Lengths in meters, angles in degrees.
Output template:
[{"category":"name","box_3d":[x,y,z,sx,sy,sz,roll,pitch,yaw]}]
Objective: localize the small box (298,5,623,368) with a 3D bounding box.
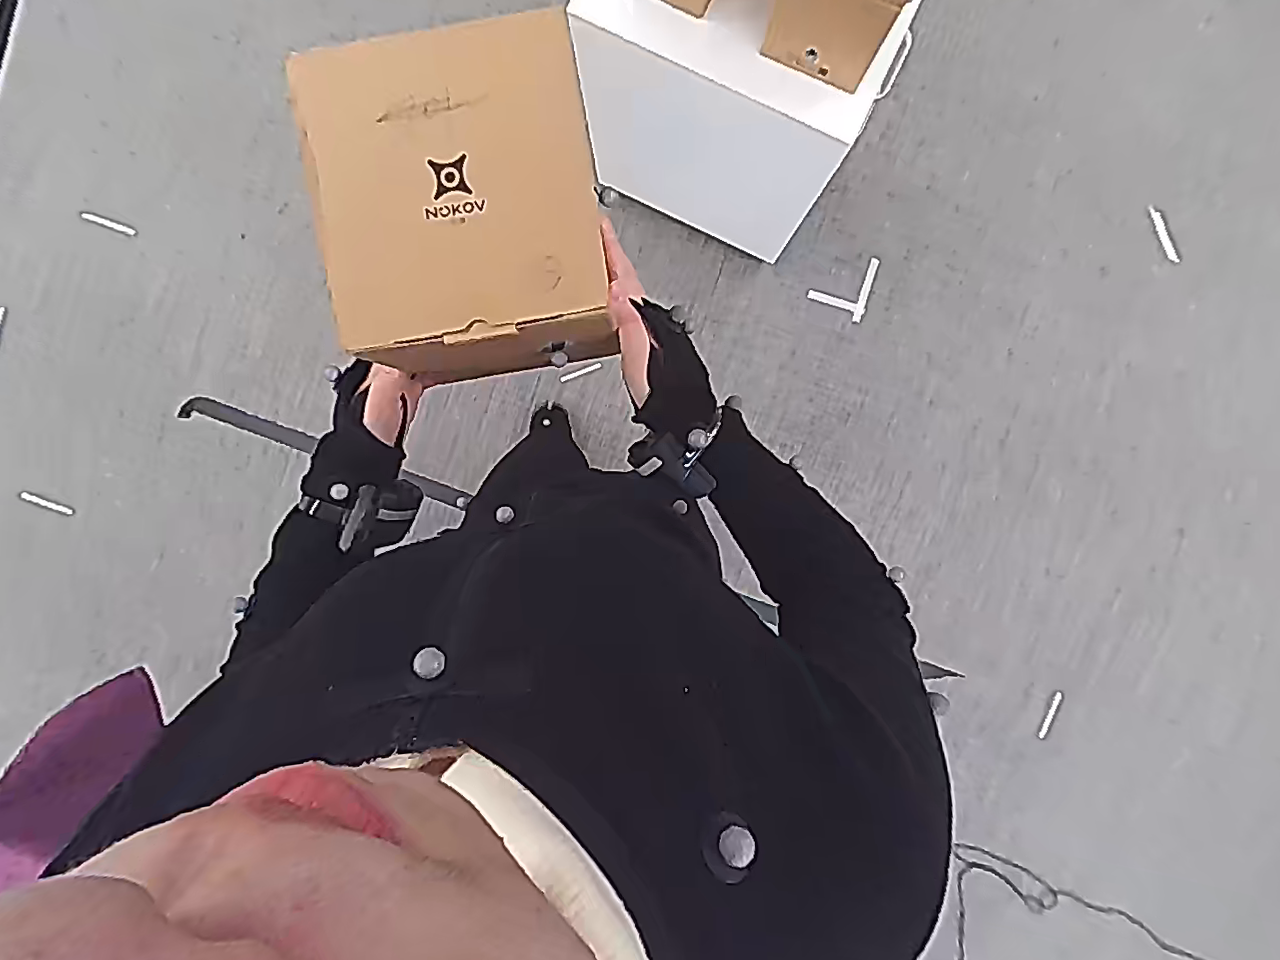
[{"category":"small box","box_3d":[-0.106,-0.183,0.398,0.168,0.176,0.179,-8,94,0]}]

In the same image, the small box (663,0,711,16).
[{"category":"small box","box_3d":[0.062,-0.833,0.765,0.168,0.176,0.179,26,92,0]}]
